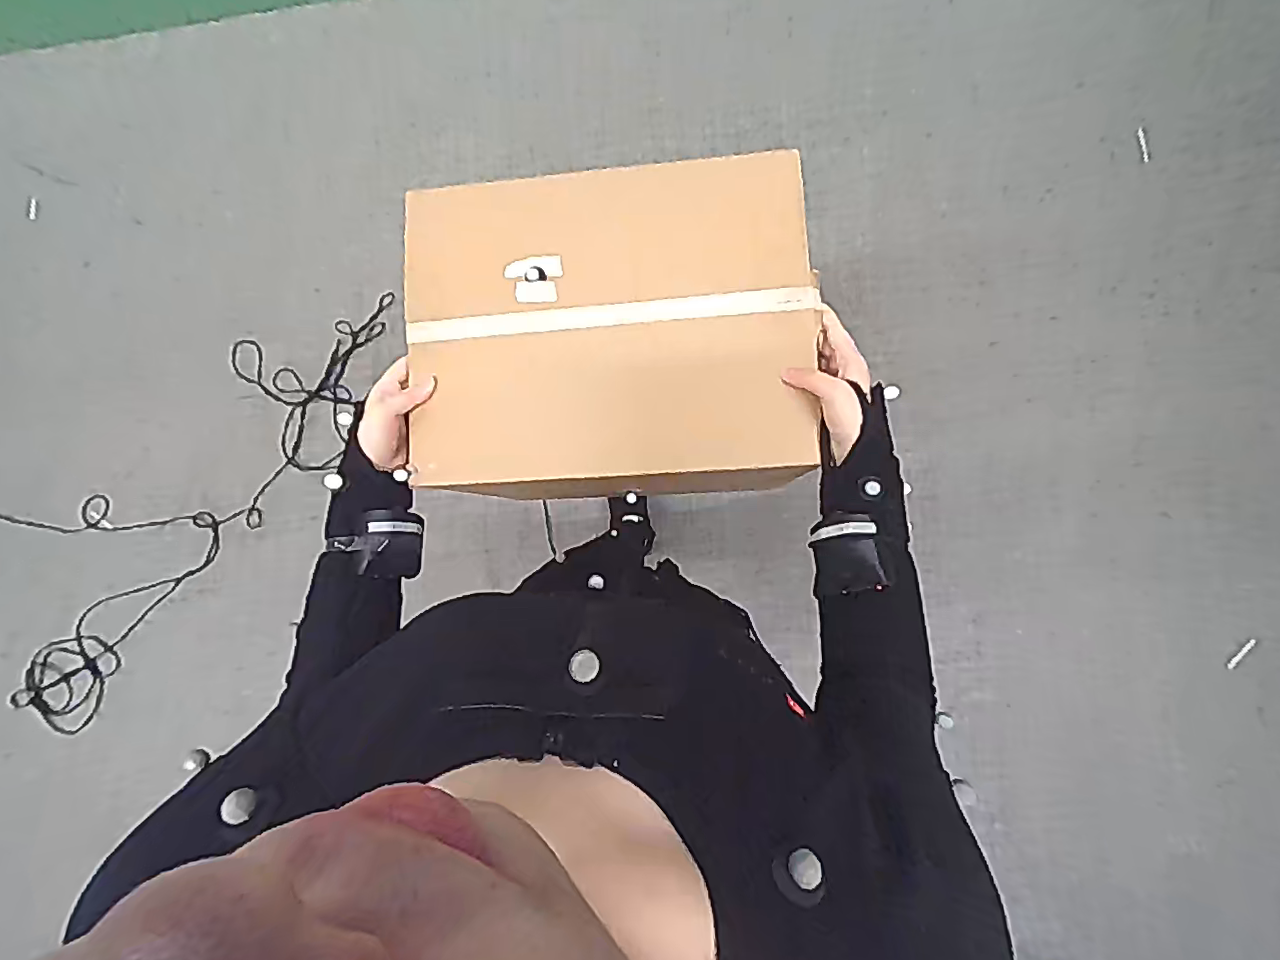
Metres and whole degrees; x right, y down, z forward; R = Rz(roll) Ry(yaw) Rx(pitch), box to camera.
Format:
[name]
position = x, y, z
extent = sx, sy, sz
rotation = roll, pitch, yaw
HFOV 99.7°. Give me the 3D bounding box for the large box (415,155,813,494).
[large box]
position = -0.020, -0.151, 0.698
extent = 0.408, 0.320, 0.320
rotation = -3, 84, 7
